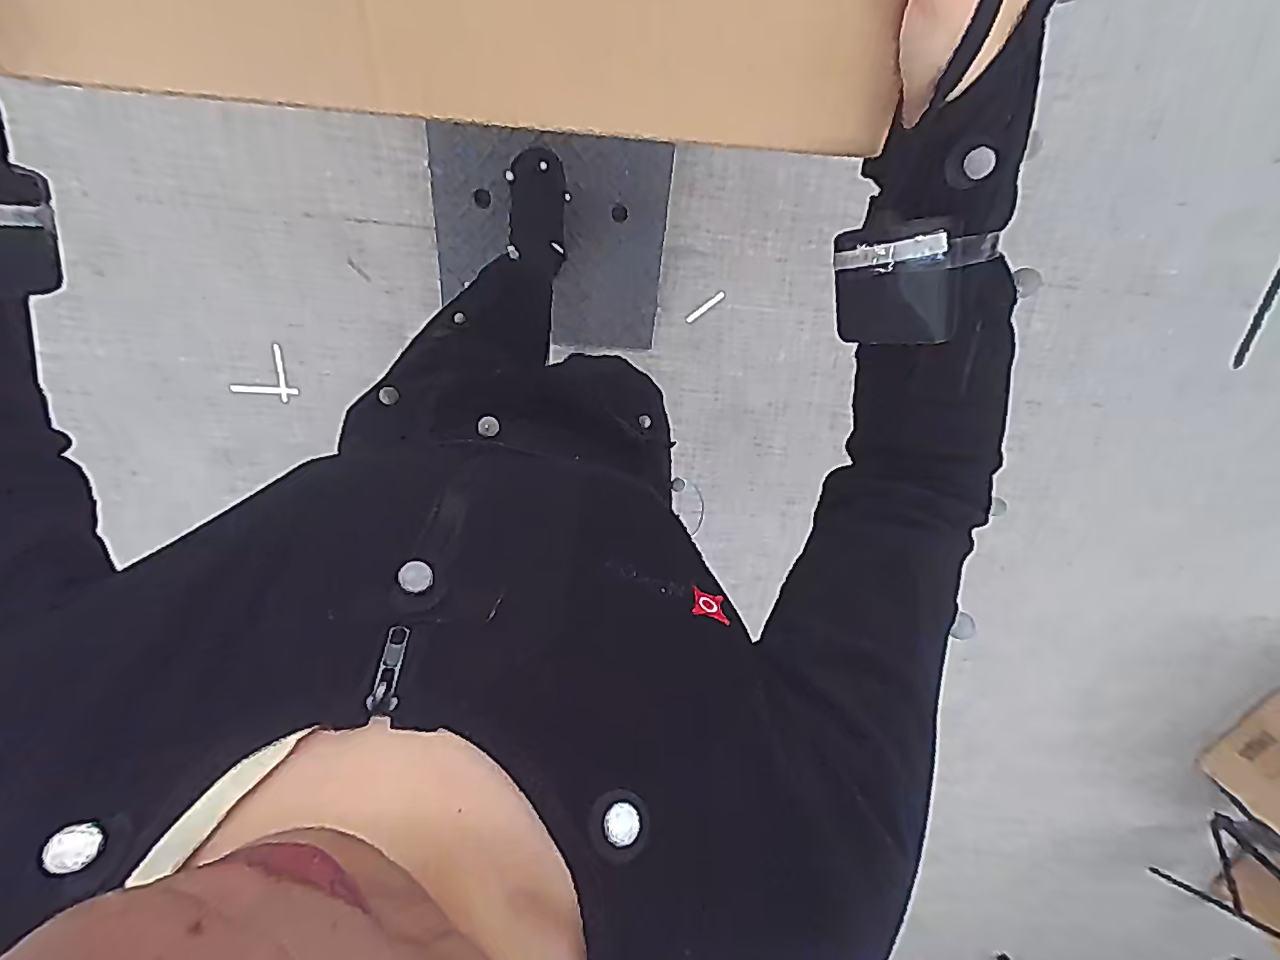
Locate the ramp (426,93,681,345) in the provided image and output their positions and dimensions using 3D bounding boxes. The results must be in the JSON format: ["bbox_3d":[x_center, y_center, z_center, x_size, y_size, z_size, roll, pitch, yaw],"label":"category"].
[{"bbox_3d":[-0.157,-0.757,1.027,0.509,0.206,0.991,2,113,-6],"label":"ramp"}]

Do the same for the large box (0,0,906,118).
[{"bbox_3d":[-0.079,-0.397,0.284,0.408,0.320,0.320,1,128,-7],"label":"large box"}]
